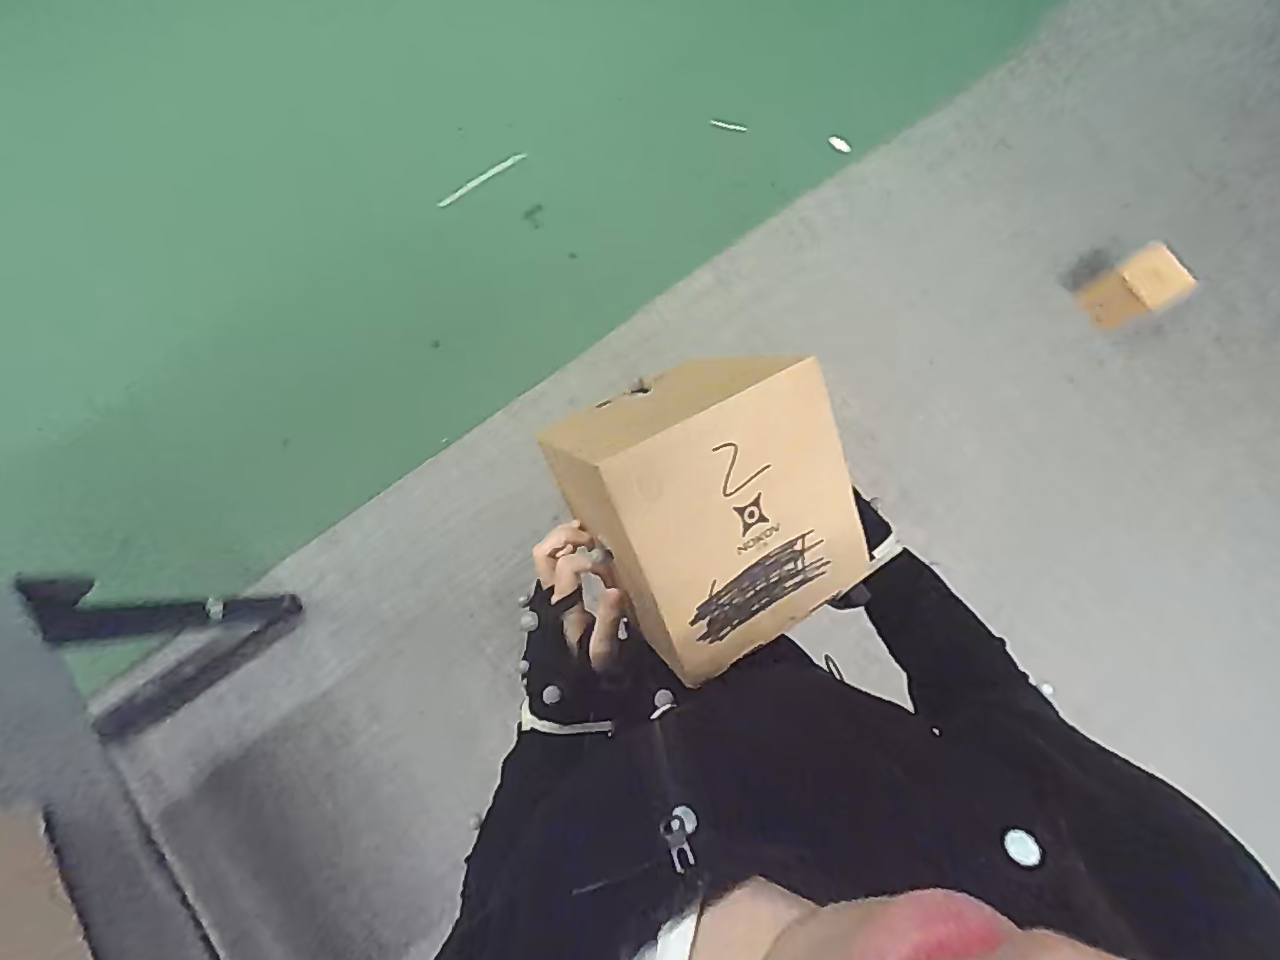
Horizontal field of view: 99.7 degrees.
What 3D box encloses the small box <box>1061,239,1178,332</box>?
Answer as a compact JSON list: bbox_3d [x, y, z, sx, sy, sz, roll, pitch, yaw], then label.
[{"bbox_3d":[1.466,-0.593,1.667,0.179,0.176,0.168,-33,83,-8],"label":"small box"}]
